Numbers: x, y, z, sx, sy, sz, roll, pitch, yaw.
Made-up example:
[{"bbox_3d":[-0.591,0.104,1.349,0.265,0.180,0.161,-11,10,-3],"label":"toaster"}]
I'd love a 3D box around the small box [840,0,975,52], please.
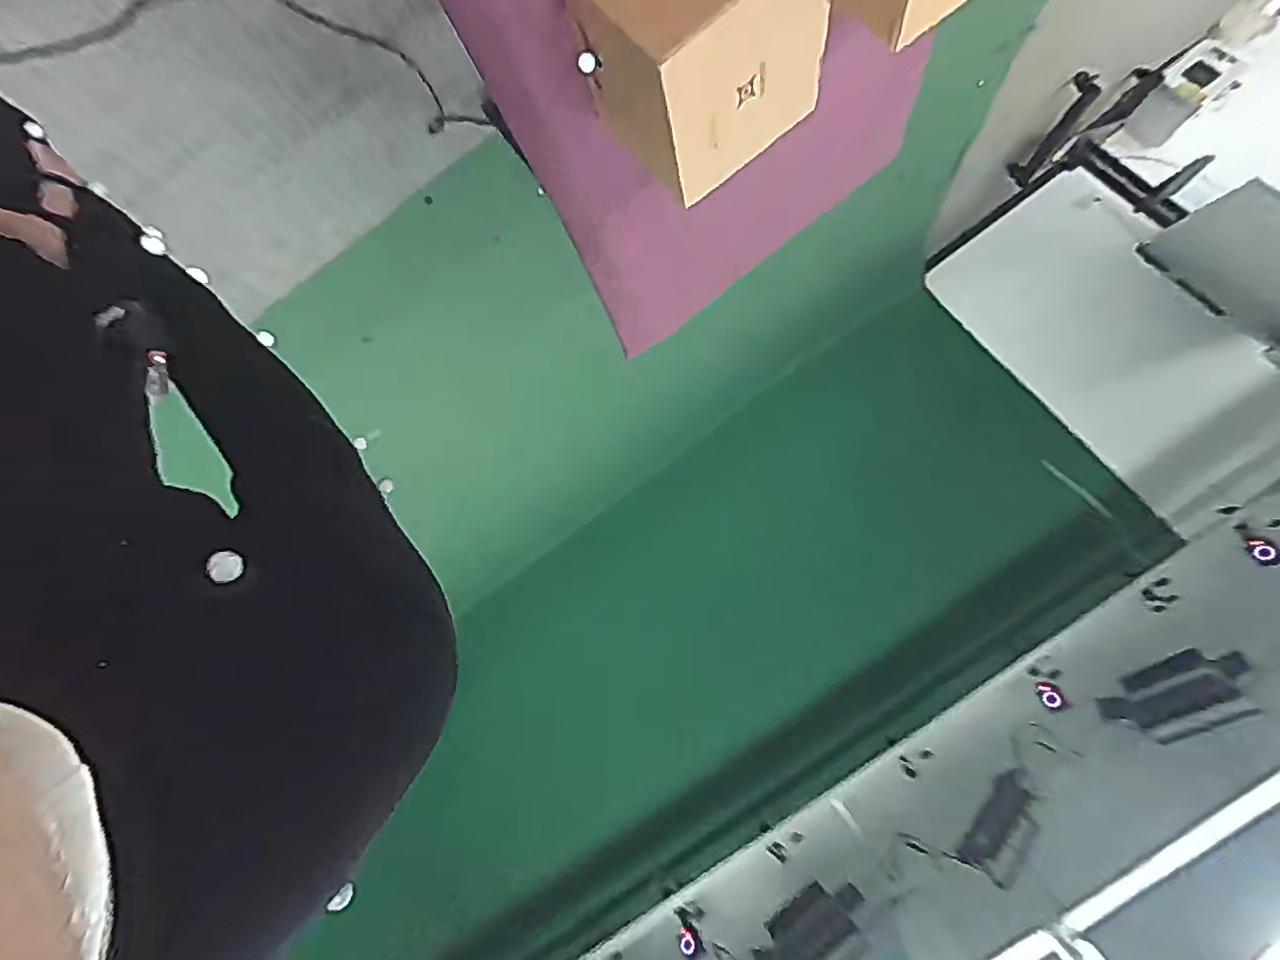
[{"bbox_3d":[0.280,-0.574,0.504,0.179,0.176,0.168,-35,164,2],"label":"small box"}]

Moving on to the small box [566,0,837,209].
[{"bbox_3d":[0.058,-0.412,0.508,0.179,0.176,0.168,-37,163,2],"label":"small box"}]
